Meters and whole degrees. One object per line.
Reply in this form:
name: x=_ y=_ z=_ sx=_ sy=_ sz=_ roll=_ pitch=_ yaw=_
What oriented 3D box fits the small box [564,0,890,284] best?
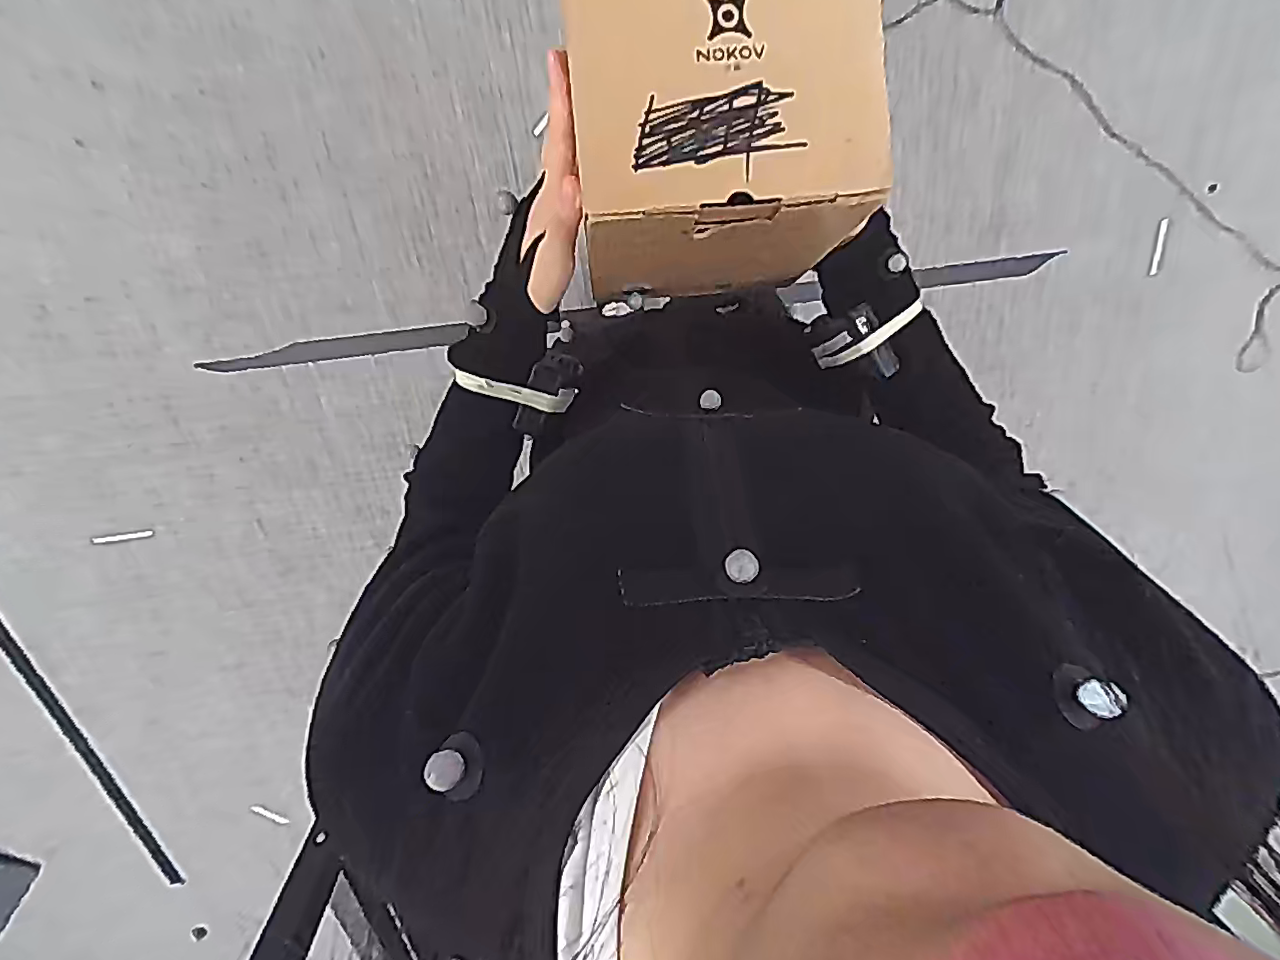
small box: x=0.041 y=-0.239 z=0.357 sx=0.168 sy=0.176 sz=0.179 roll=-6 pitch=93 yaw=-2
